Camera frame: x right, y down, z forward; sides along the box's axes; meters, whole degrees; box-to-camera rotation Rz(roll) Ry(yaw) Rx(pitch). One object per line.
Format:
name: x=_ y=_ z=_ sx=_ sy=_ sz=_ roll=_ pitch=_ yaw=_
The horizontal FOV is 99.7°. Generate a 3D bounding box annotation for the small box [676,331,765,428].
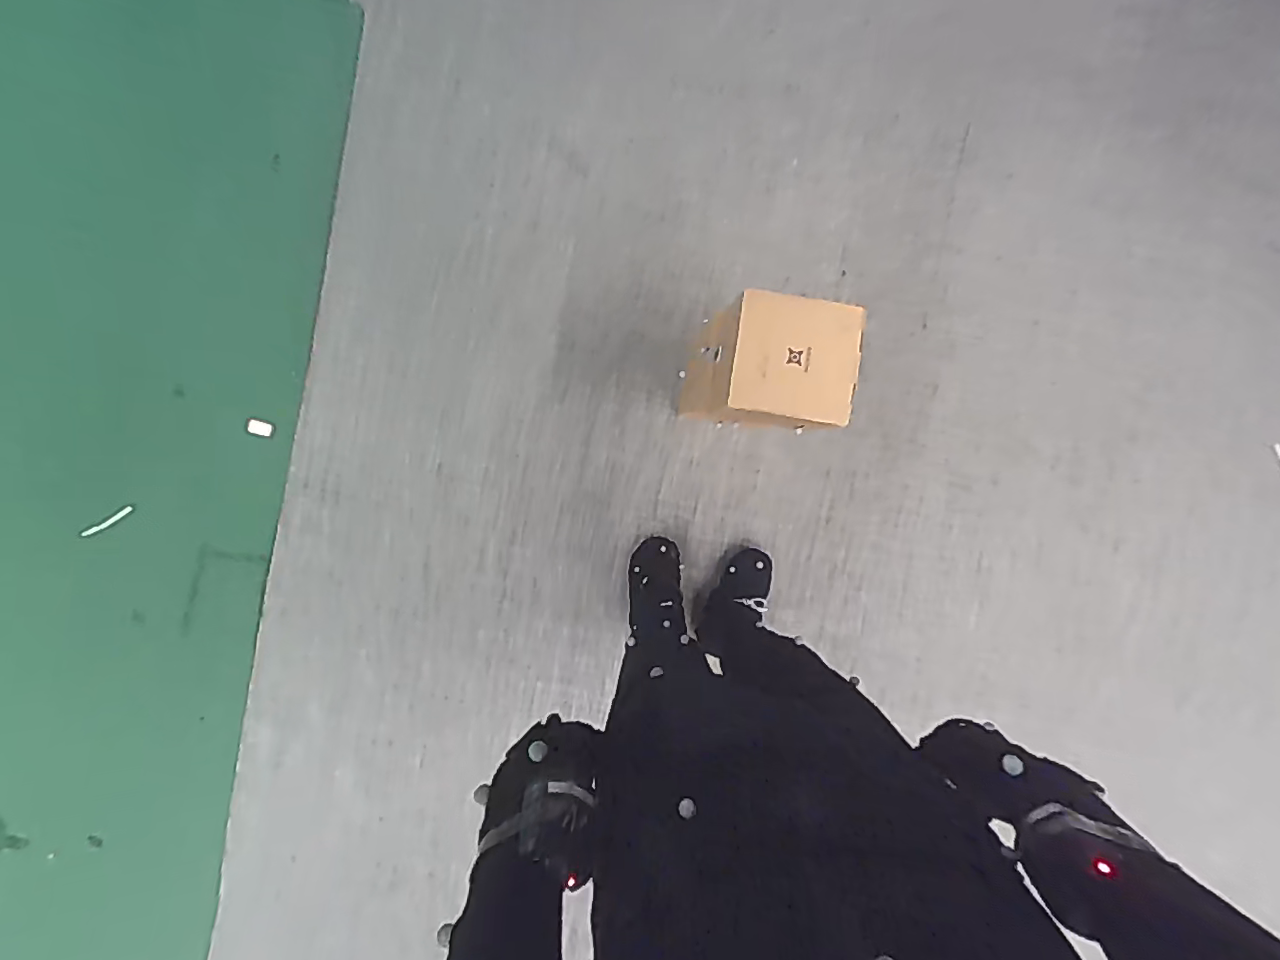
small box: x=0.183 y=-0.205 z=1.147 sx=0.179 sy=0.176 sz=0.168 roll=10 pitch=92 yaw=-3

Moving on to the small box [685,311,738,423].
small box: x=0.191 y=-0.193 z=0.984 sx=0.179 sy=0.176 sz=0.168 roll=7 pitch=93 yaw=-4

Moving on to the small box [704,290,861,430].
small box: x=0.206 y=-0.170 z=0.823 sx=0.179 sy=0.176 sz=0.168 roll=8 pitch=91 yaw=-3
